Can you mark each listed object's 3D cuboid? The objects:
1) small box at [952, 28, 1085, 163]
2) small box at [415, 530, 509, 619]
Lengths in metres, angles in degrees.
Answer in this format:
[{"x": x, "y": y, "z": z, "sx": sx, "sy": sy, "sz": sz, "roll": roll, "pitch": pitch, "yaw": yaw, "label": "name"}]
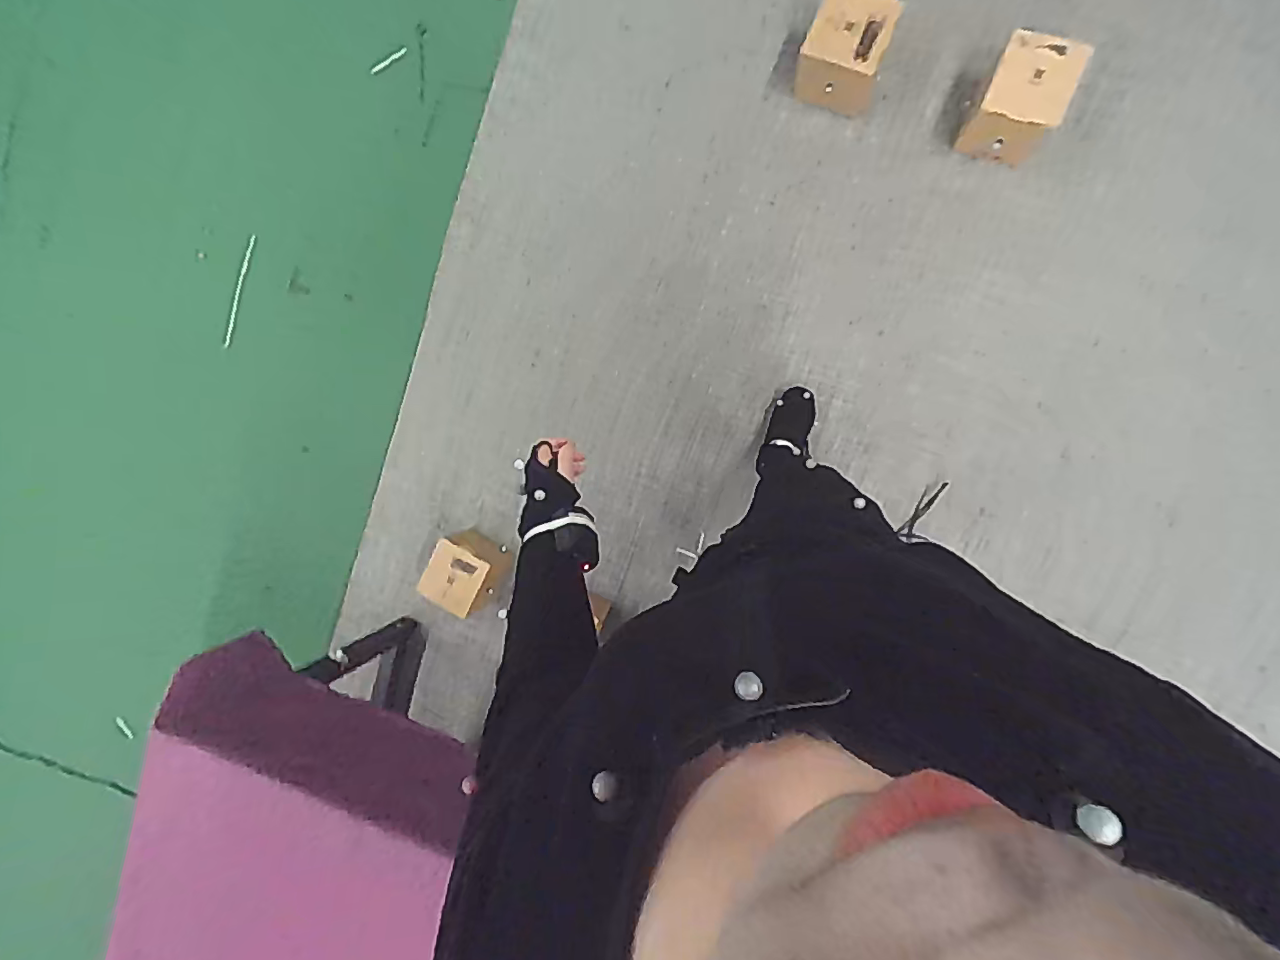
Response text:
[{"x": 0.846, "y": -0.864, "z": 1.234, "sx": 0.168, "sy": 0.176, "sz": 0.179, "roll": 22, "pitch": 97, "yaw": 8, "label": "small box"}, {"x": -0.498, "y": 0.261, "z": 1.546, "sx": 0.168, "sy": 0.176, "sz": 0.179, "roll": 29, "pitch": 98, "yaw": 8, "label": "small box"}]
